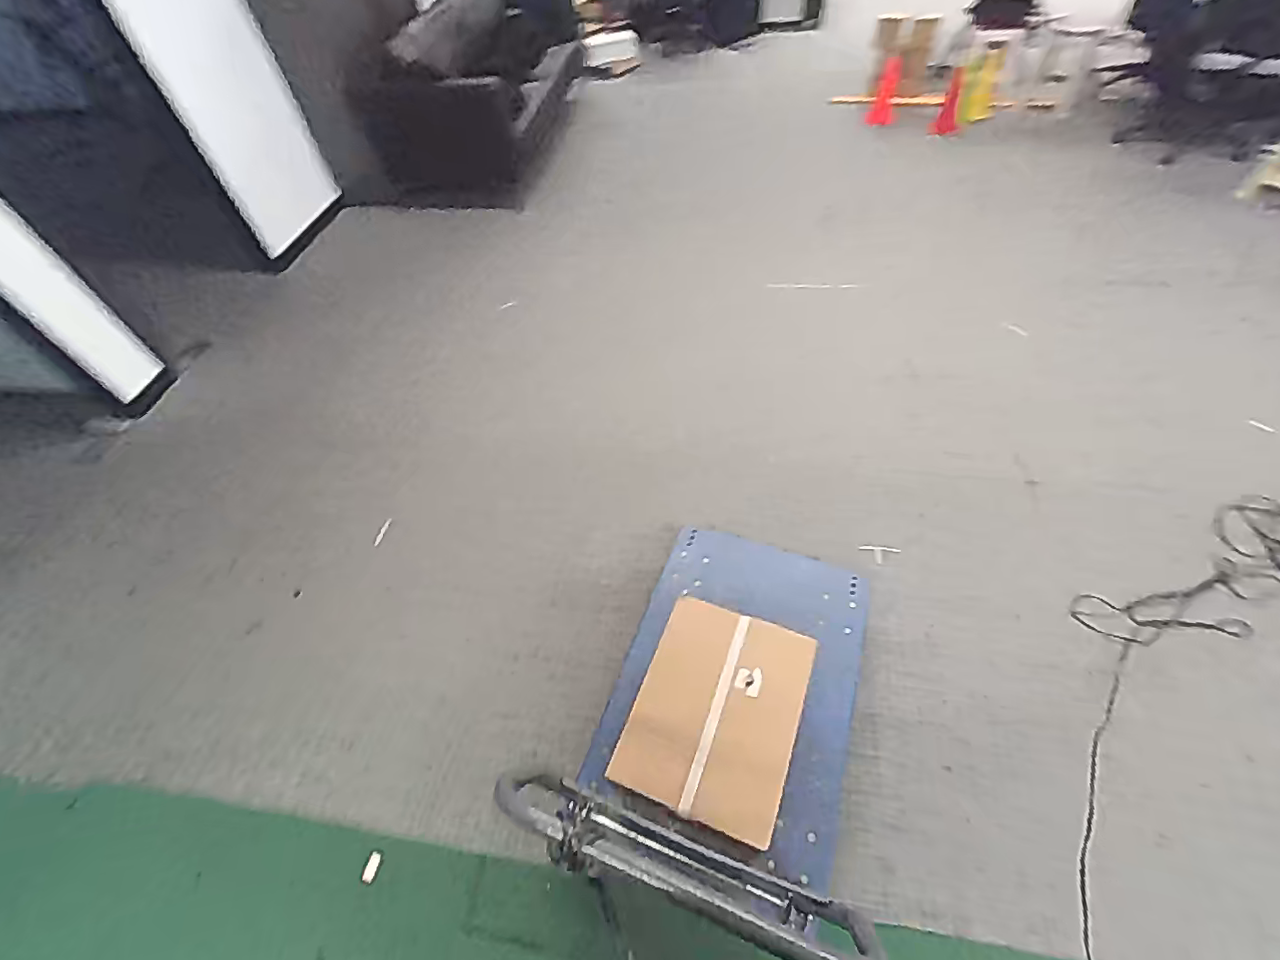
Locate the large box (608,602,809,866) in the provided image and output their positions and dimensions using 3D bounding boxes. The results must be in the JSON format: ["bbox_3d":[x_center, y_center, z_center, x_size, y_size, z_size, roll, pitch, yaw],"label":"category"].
[{"bbox_3d":[0.161,0.556,1.200,0.320,0.320,0.408,16,54,17],"label":"large box"}]
